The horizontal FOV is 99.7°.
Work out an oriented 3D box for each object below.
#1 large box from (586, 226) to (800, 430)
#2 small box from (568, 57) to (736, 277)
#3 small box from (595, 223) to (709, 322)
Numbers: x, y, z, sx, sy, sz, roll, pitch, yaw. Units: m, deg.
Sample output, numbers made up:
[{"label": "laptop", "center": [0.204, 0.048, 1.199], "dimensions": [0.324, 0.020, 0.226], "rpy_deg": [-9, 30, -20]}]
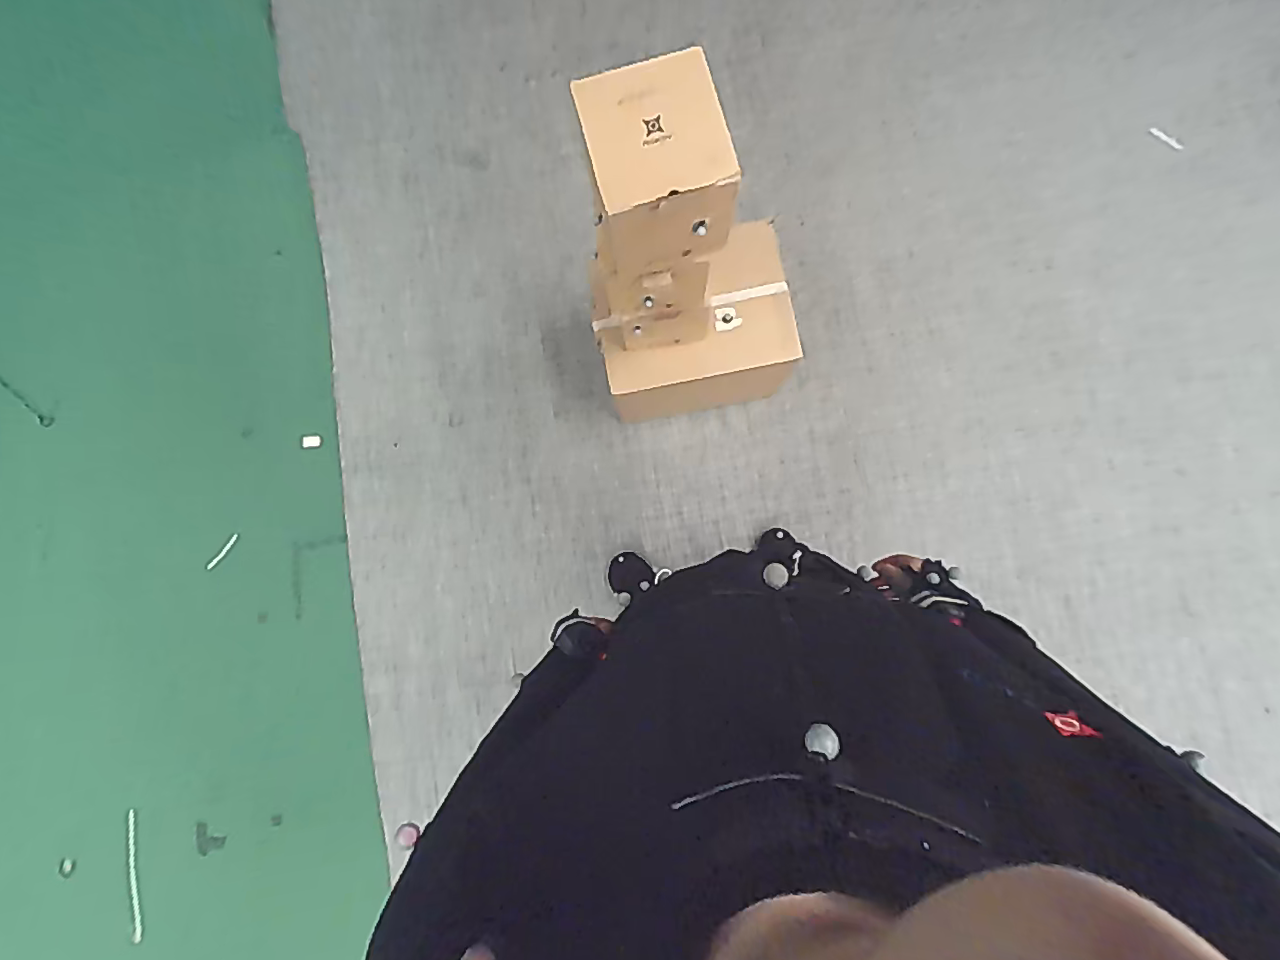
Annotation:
[{"label": "large box", "center": [0.111, -0.332, 1.274], "dimensions": [0.408, 0.320, 0.320], "rpy_deg": [-11, 84, 0]}, {"label": "small box", "center": [0.016, -0.391, 0.712], "dimensions": [0.168, 0.176, 0.179], "rpy_deg": [-16, 83, 0]}, {"label": "small box", "center": [0.016, -0.377, 0.874], "dimensions": [0.168, 0.176, 0.179], "rpy_deg": [-6, 83, 2]}]
